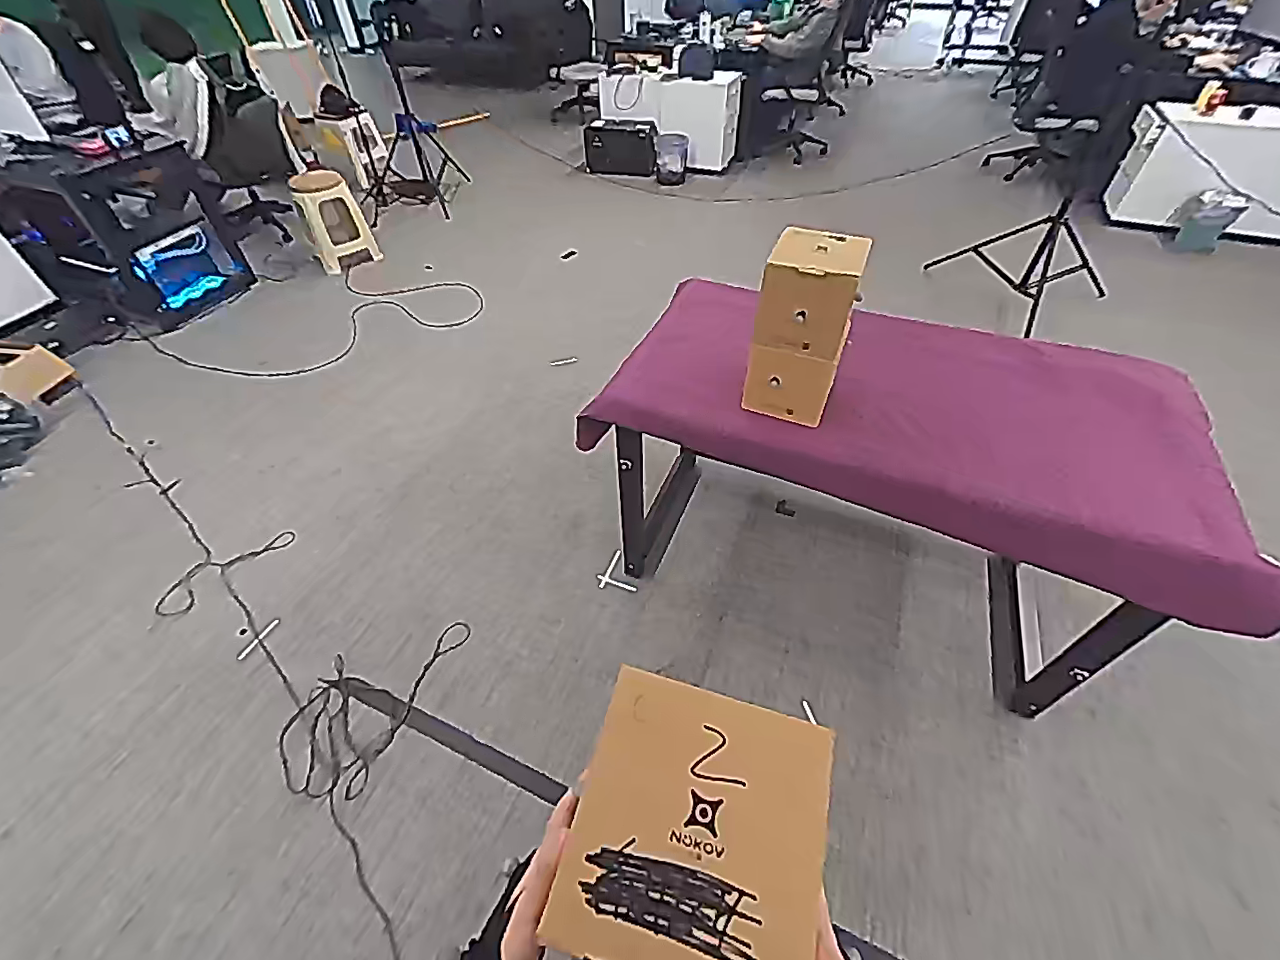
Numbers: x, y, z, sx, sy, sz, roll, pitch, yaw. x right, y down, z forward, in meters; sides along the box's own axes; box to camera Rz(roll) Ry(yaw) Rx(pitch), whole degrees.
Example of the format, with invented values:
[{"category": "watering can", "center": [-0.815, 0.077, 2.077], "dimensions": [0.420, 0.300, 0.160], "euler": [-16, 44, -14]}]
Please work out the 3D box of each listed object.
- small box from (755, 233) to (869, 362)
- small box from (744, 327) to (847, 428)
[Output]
[{"category": "small box", "center": [0.328, -0.354, 1.050], "dimensions": [0.168, 0.176, 0.179], "euler": [17, 49, 16]}, {"category": "small box", "center": [0.330, -0.237, 1.165], "dimensions": [0.168, 0.176, 0.179], "euler": [18, 49, 17]}]
